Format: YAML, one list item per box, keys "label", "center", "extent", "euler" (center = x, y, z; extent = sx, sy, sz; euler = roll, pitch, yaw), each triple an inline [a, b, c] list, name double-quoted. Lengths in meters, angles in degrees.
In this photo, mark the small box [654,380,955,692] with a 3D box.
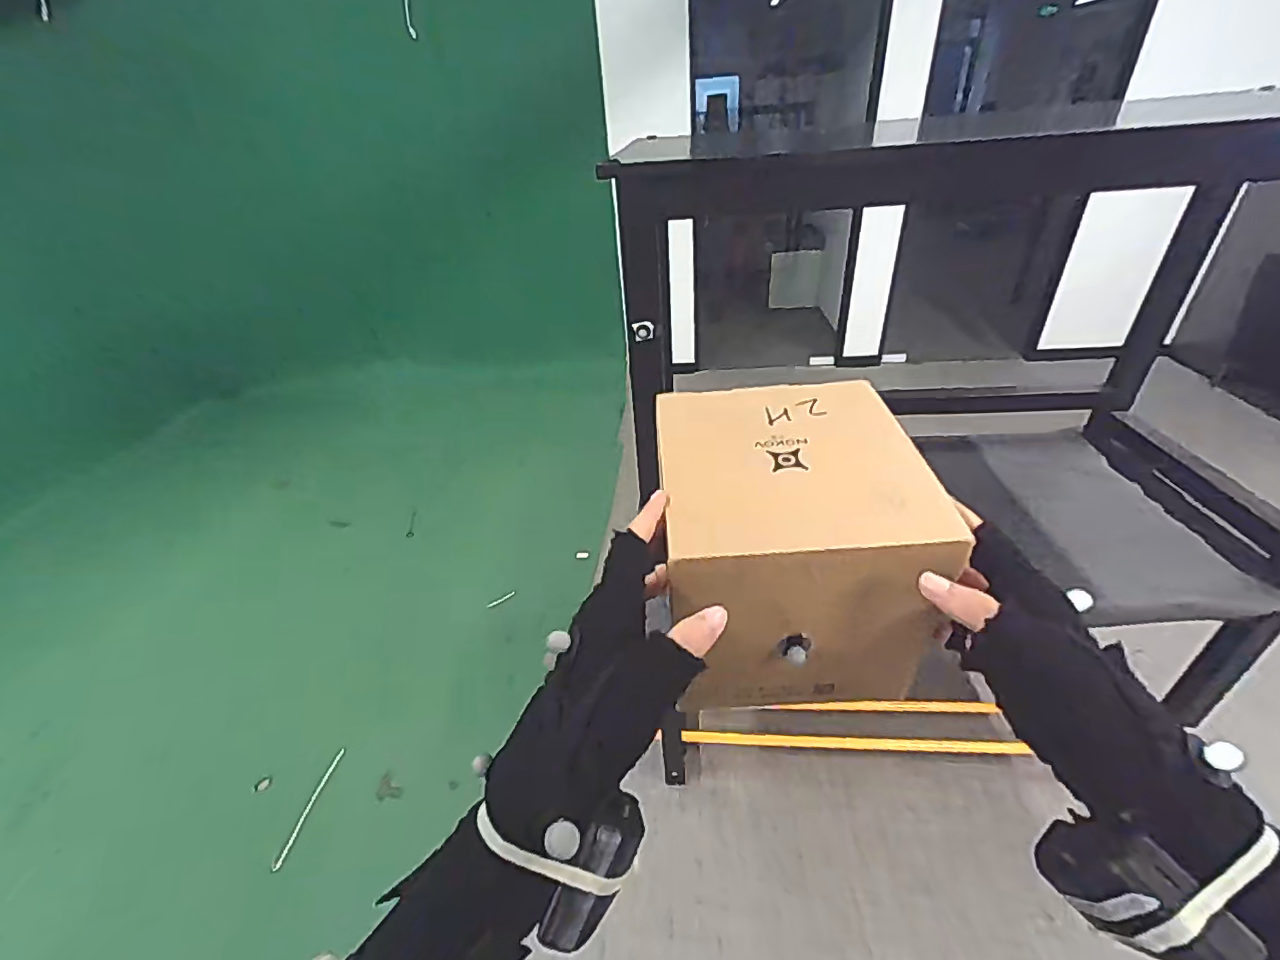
- label: "small box"
  center: [0.099, 0.045, 0.410]
  extent: [0.168, 0.176, 0.179]
  euler: [-3, 39, 2]
